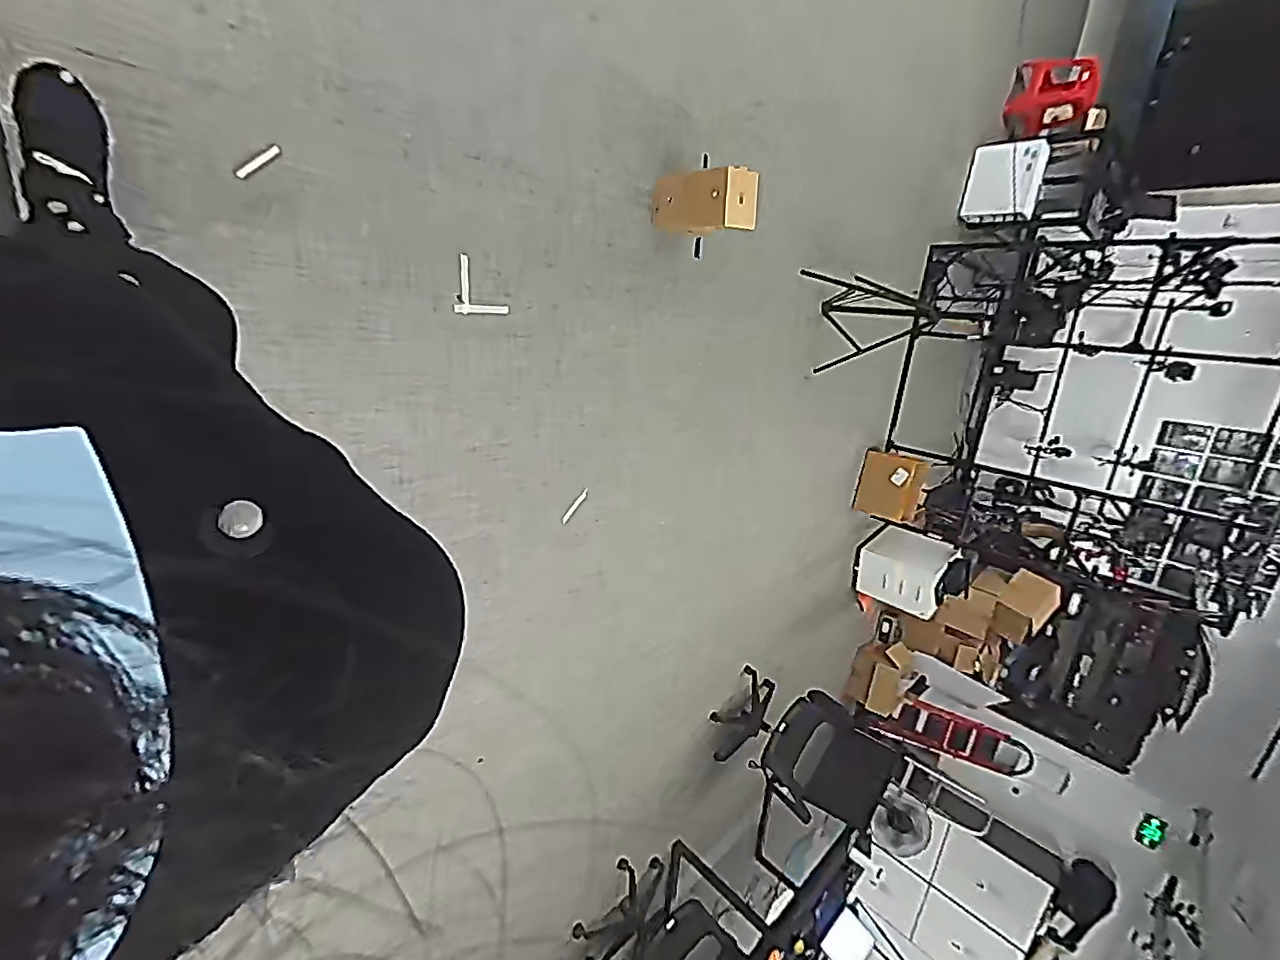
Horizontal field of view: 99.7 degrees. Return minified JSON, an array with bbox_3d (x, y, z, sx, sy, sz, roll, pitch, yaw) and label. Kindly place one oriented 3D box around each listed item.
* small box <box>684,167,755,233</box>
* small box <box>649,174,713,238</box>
[{"bbox_3d":[0.262,-0.930,1.810,0.168,0.176,0.179,-18,117,-41],"label":"small box"},{"bbox_3d":[0.154,-0.969,1.927,0.179,0.176,0.168,-8,112,-45],"label":"small box"}]
